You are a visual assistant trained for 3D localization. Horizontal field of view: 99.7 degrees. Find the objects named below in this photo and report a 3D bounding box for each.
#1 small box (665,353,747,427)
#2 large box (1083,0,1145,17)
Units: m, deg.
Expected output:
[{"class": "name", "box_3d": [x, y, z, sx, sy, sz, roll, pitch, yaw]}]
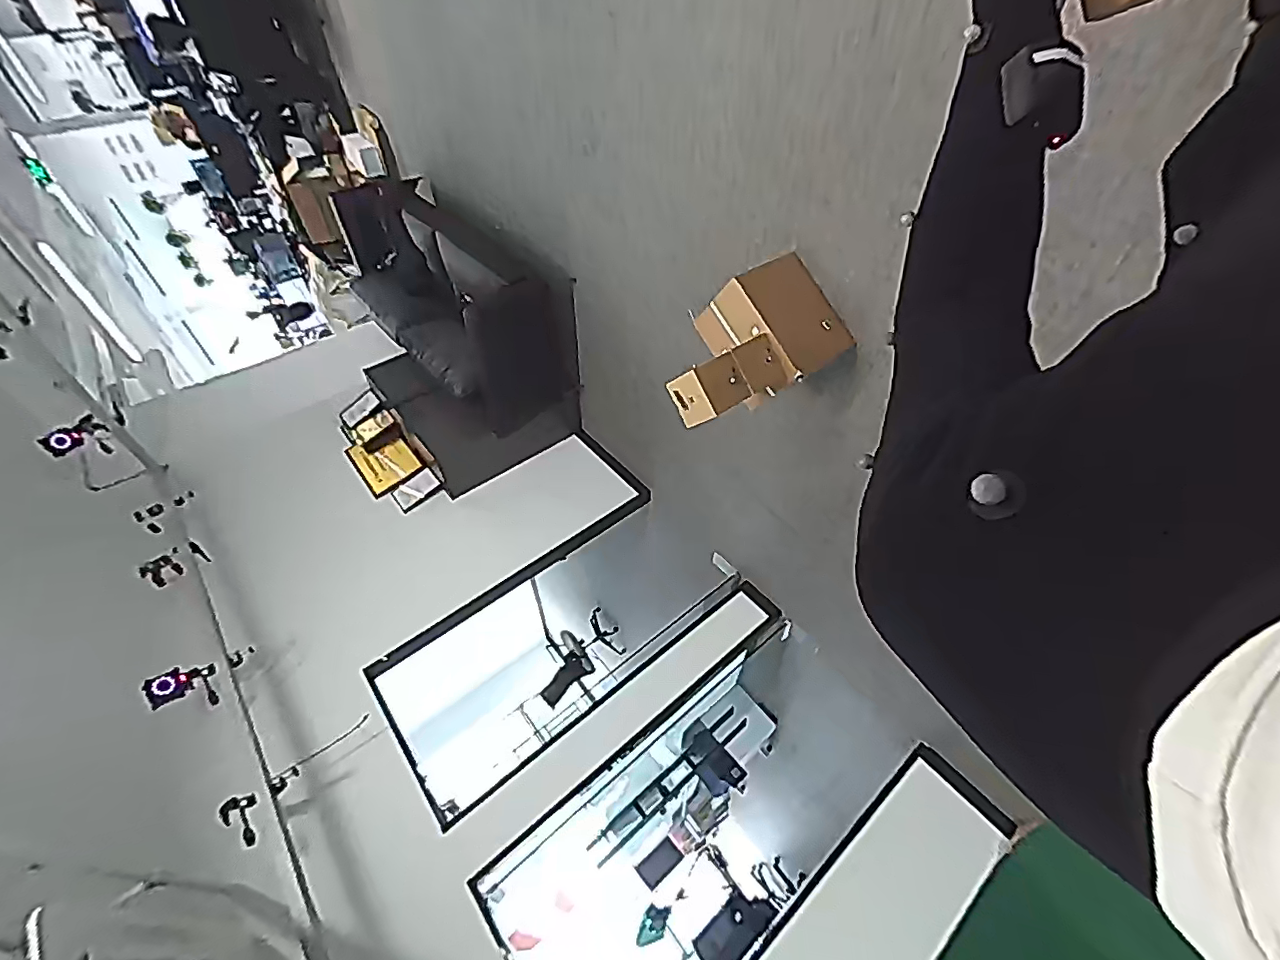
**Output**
[{"class": "small box", "box_3d": [0.219, -0.295, 1.779, 0.168, 0.176, 0.179, 62, 153, -7]}, {"class": "large box", "box_3d": [0.508, -0.593, 0.309, 0.408, 0.320, 0.320, -3, 119, 61]}]
